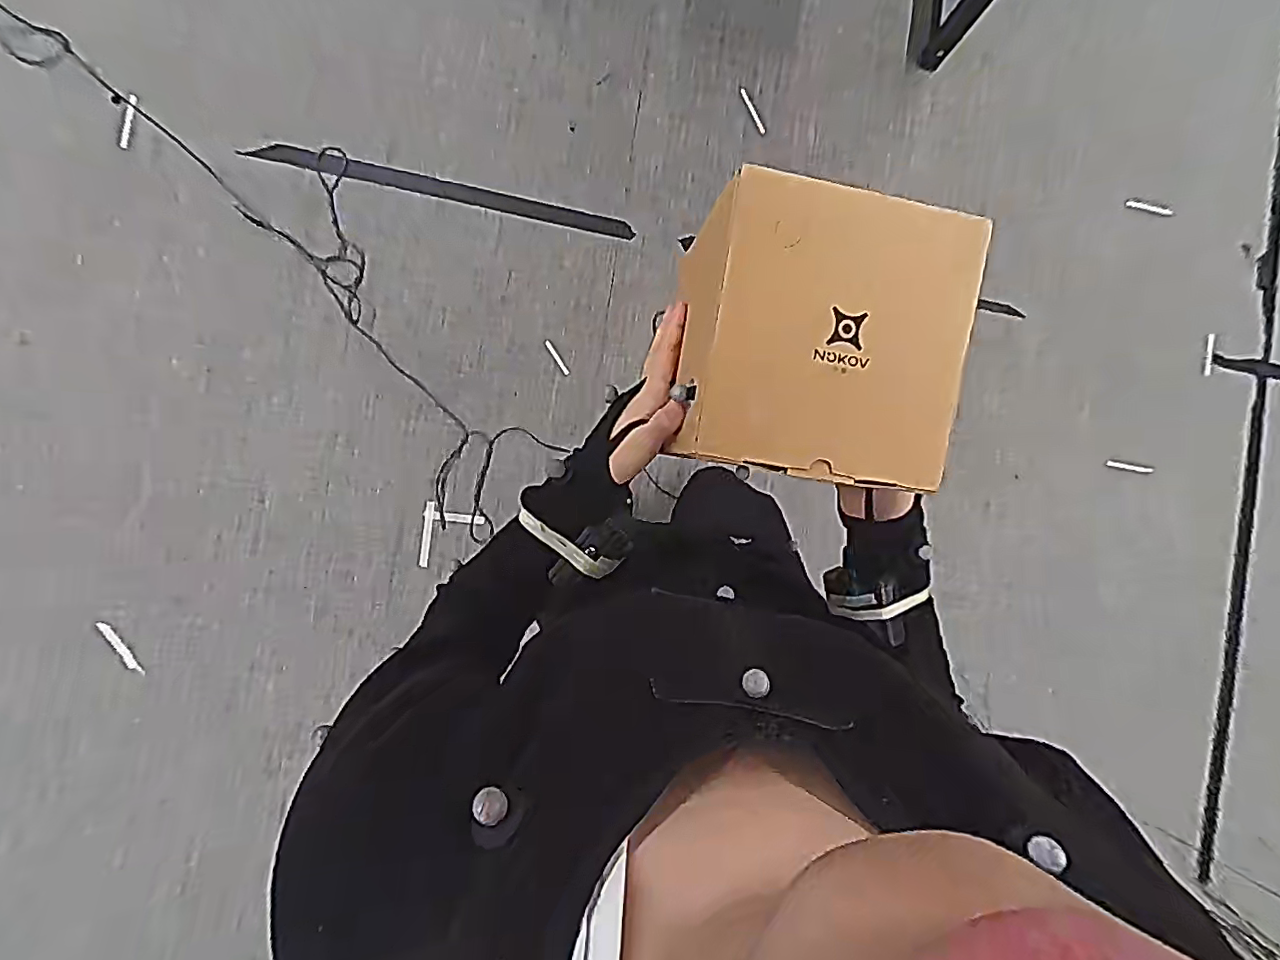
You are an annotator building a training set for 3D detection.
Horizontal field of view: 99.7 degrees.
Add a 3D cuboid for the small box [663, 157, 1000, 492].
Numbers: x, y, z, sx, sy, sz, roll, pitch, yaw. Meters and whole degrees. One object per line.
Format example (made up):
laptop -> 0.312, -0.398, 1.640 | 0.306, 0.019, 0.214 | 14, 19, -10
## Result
small box -> 0.119, -0.095, 0.404 | 0.168, 0.176, 0.179 | 8, 94, -8
